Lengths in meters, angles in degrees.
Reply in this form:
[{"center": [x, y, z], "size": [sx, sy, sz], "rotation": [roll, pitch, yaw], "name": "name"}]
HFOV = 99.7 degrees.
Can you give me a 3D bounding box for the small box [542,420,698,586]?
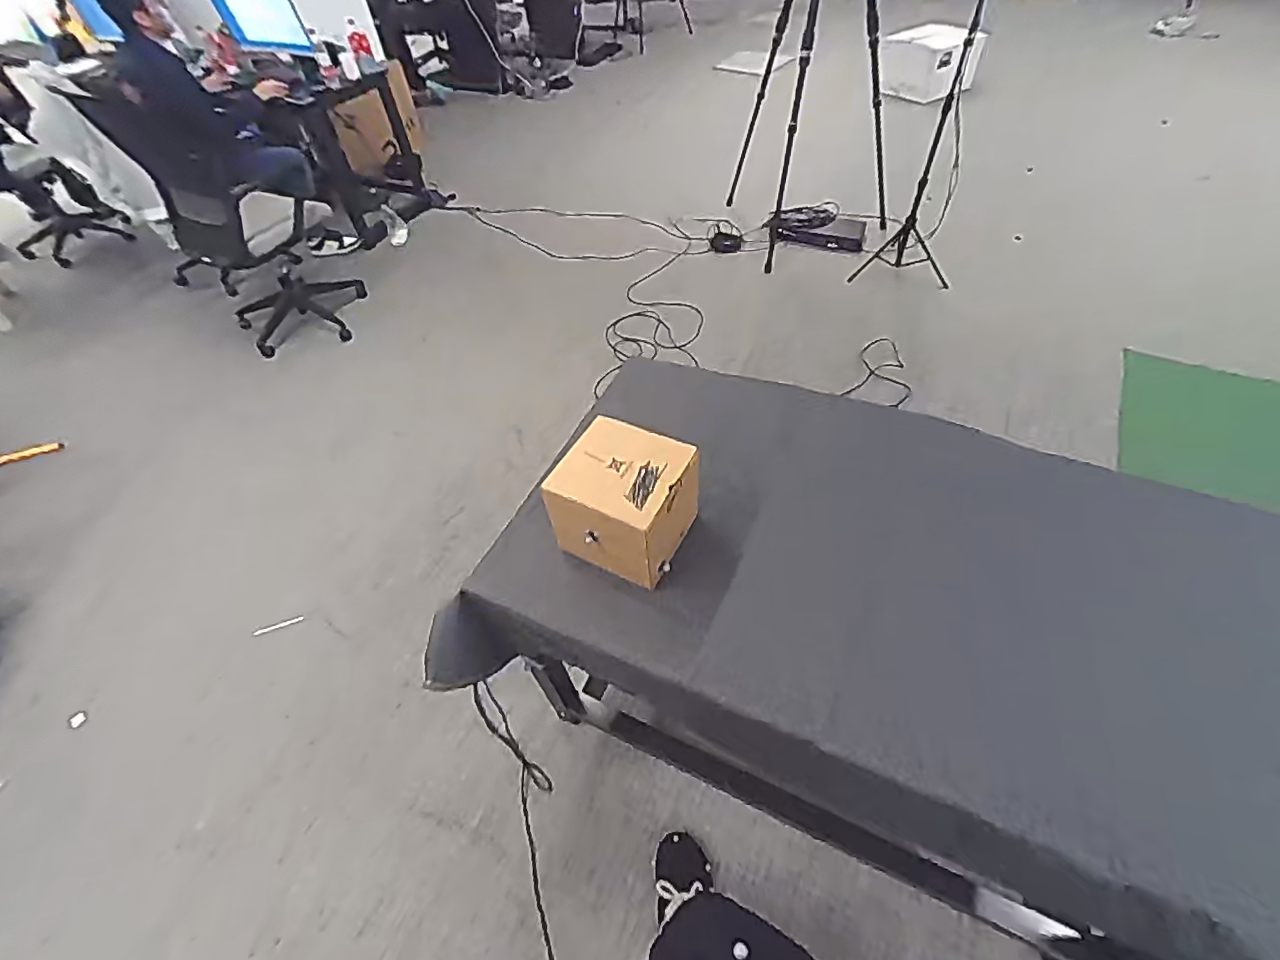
[{"center": [-0.022, 0.040, 0.841], "size": [0.179, 0.176, 0.168], "rotation": [21, 55, 21], "name": "small box"}]
